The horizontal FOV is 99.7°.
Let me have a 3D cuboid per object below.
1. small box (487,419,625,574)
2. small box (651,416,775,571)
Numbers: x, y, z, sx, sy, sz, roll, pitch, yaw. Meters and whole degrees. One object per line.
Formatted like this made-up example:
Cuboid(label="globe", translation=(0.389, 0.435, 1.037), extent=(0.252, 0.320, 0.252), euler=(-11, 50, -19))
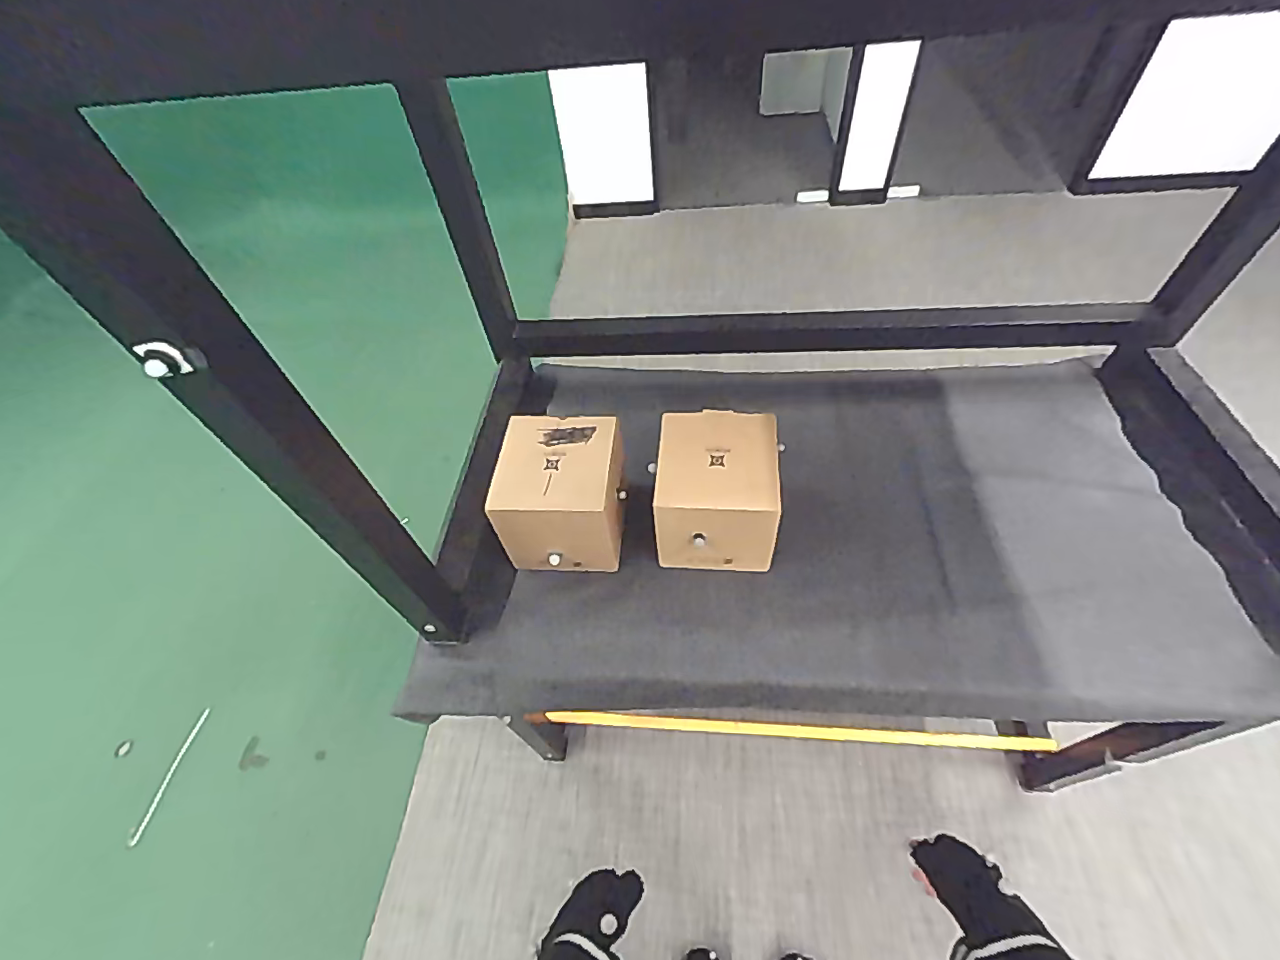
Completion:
Cuboid(label="small box", translation=(-0.116, 0.025, 0.837), extent=(0.168, 0.176, 0.179), euler=(1, 52, 6))
Cuboid(label="small box", translation=(0.111, 0.023, 0.818), extent=(0.168, 0.176, 0.179), euler=(2, 51, 7))
